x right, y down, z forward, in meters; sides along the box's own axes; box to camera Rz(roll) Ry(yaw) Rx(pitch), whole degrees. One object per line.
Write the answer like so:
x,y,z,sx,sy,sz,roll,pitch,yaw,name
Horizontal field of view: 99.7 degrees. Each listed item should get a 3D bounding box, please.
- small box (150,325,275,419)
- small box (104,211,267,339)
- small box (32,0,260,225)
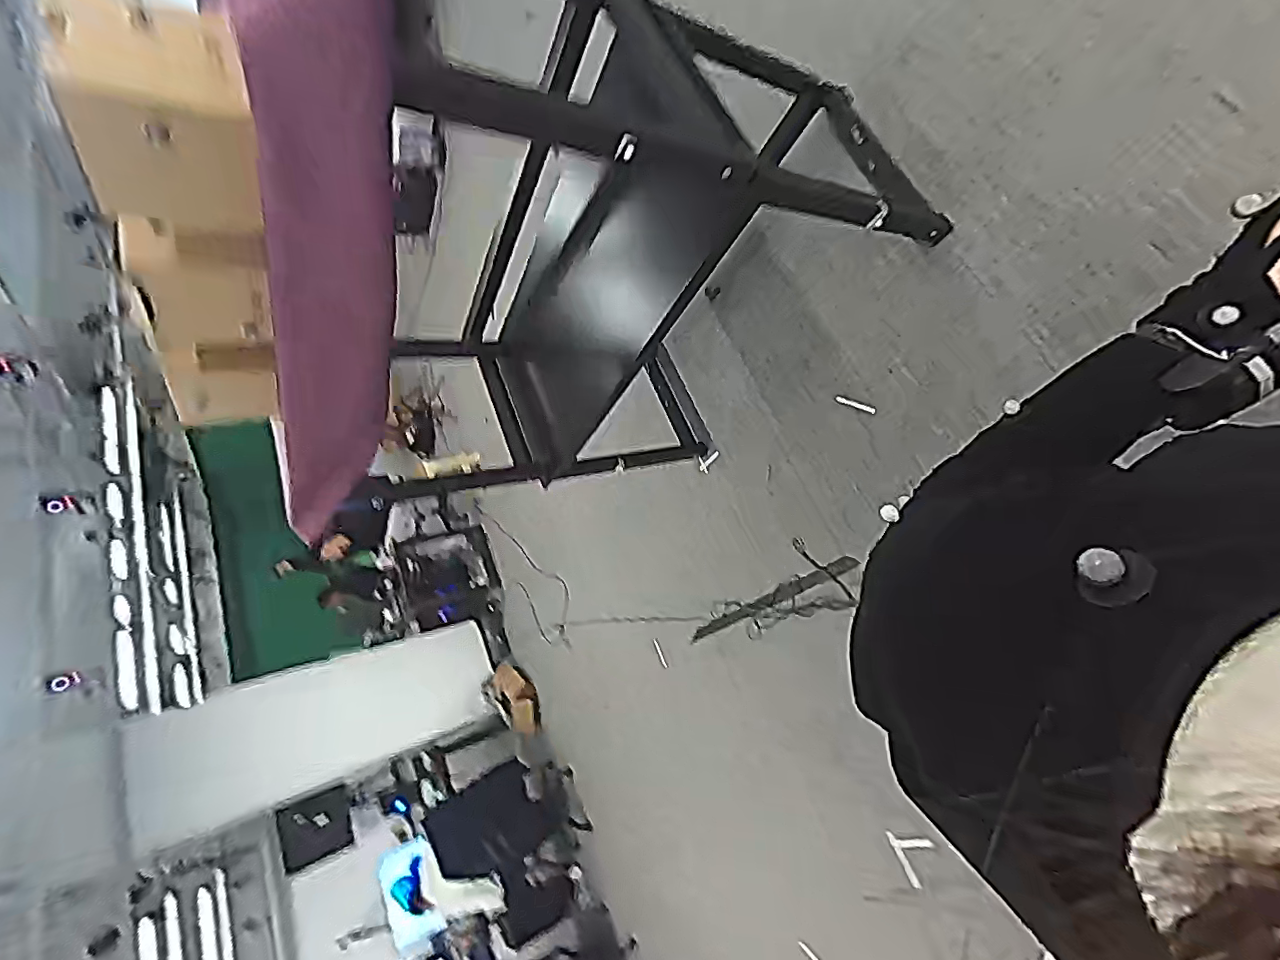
-0.811,-0.231,1.035,0.179,0.176,0.168,-40,65,51,small box
-0.688,-0.339,0.835,0.168,0.176,0.179,-45,61,49,small box
-0.565,-0.435,0.638,0.179,0.176,0.168,-39,65,52,small box
